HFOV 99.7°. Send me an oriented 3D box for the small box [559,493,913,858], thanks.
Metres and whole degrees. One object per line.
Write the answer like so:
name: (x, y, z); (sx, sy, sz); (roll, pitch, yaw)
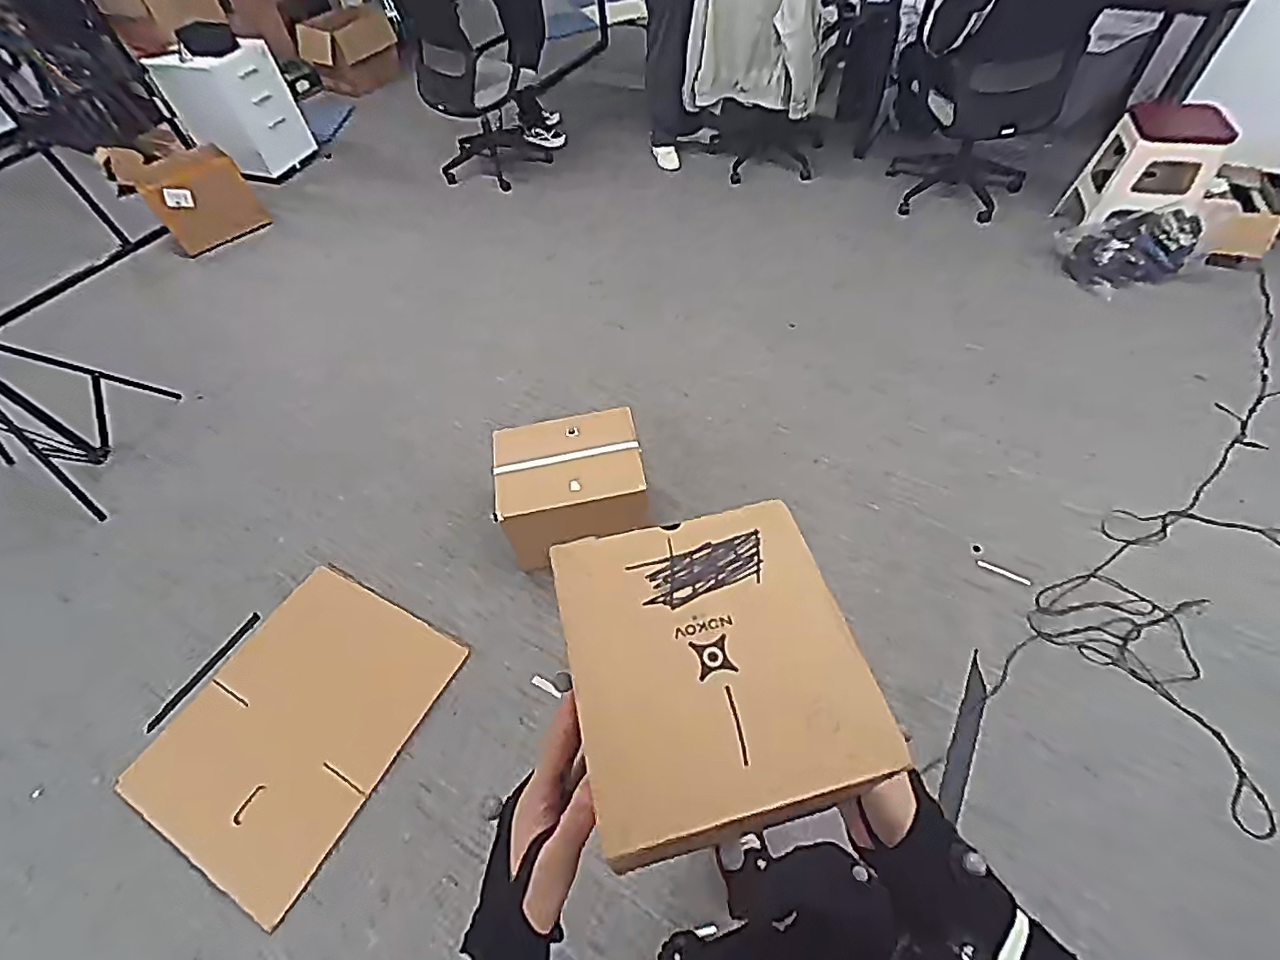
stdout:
small box: (0.043, 0.138, 0.379); (0.168, 0.176, 0.179); (-12, 53, -8)
